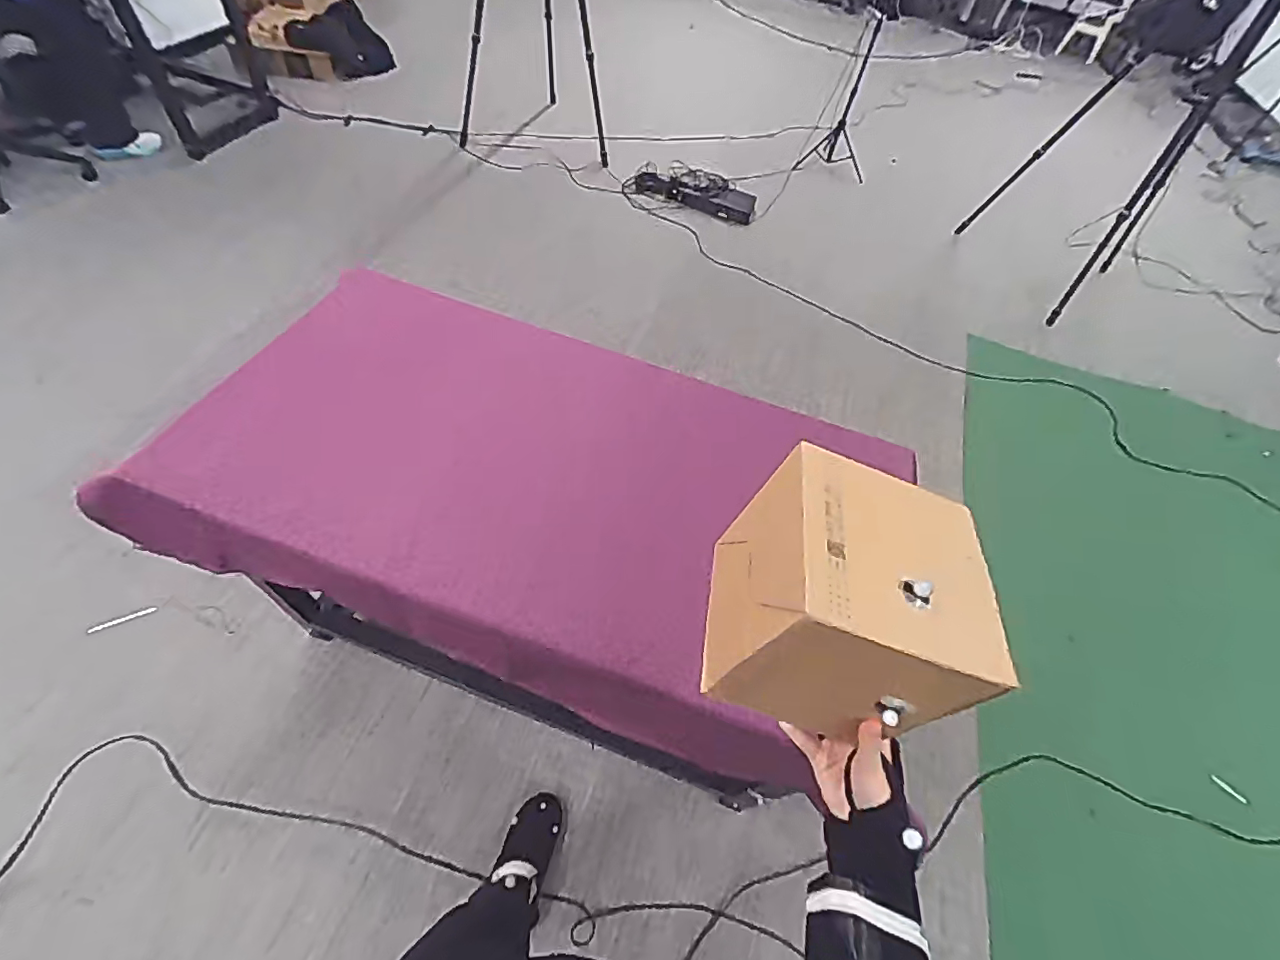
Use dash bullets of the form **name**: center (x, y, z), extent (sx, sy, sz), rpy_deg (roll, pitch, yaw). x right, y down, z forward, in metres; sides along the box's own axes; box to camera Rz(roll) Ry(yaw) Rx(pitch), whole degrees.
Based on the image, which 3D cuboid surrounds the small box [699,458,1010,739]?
- **small box**: center (0.164, 0.101, 0.475), extent (0.176, 0.179, 0.168), rpy_deg (21, 47, -7)
